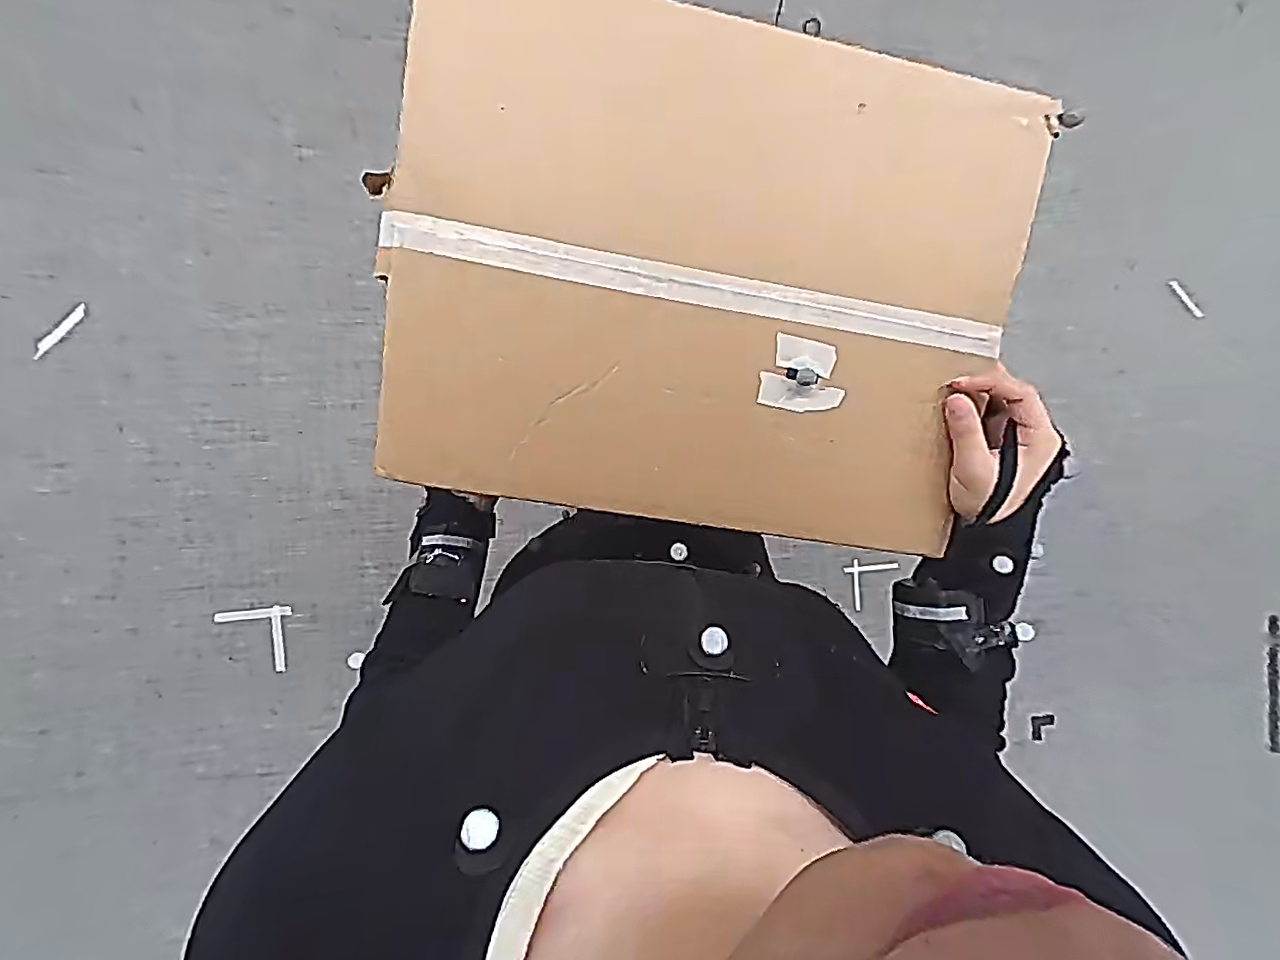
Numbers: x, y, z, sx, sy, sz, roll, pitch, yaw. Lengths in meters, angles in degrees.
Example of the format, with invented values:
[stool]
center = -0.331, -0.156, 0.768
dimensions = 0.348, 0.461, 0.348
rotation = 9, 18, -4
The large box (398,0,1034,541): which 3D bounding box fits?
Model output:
[large box]
center = 0.035, -0.149, 0.508
dimensions = 0.408, 0.320, 0.320
rotation = 8, 100, -8
